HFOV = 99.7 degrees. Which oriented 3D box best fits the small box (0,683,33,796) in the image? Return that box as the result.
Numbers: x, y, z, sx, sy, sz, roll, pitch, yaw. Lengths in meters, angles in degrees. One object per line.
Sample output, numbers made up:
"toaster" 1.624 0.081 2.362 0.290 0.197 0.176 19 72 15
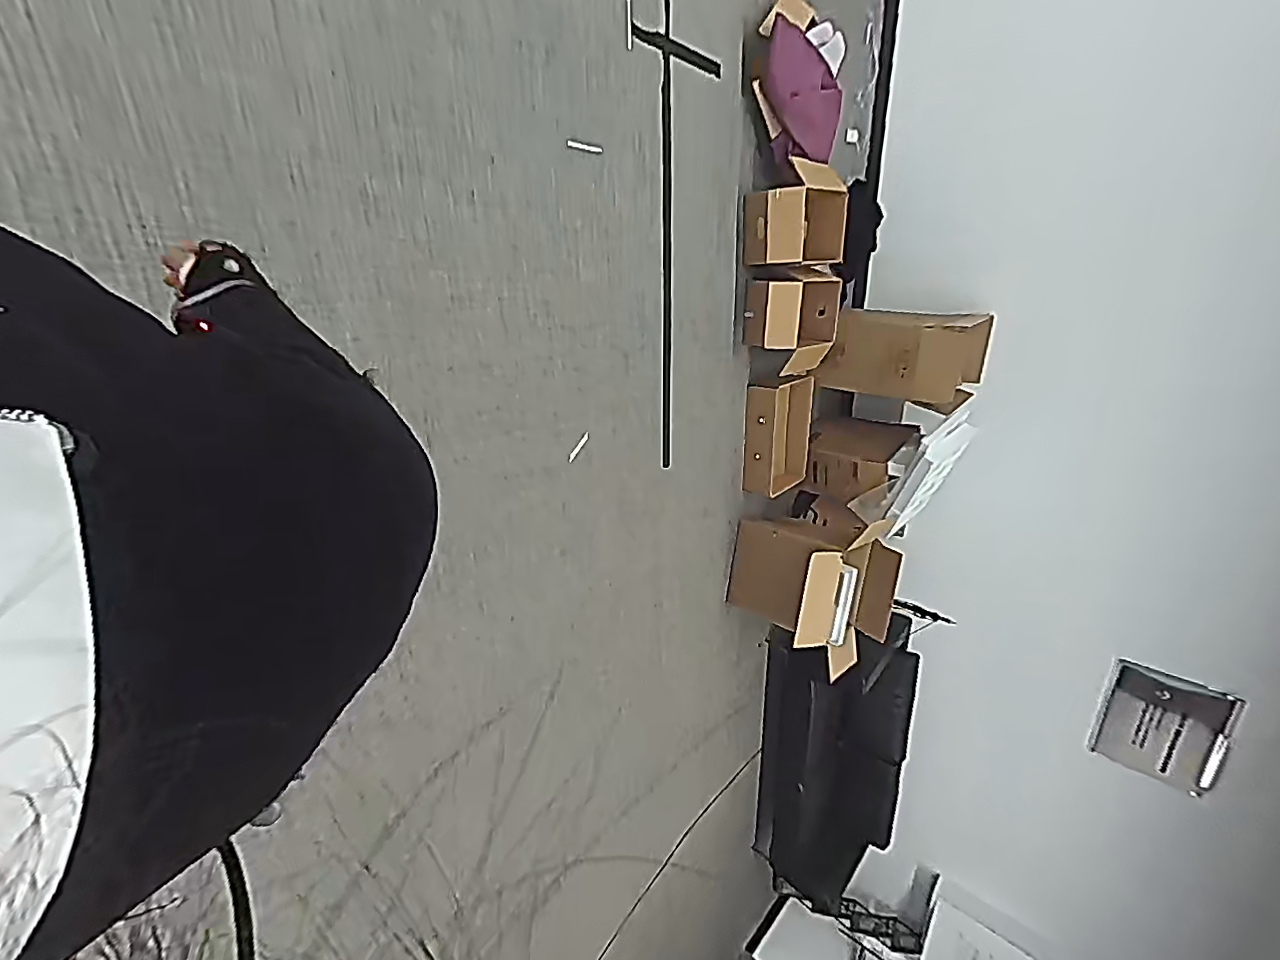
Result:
"small box" -1.163 0.445 0.894 0.168 0.176 0.179 -24 120 -42
